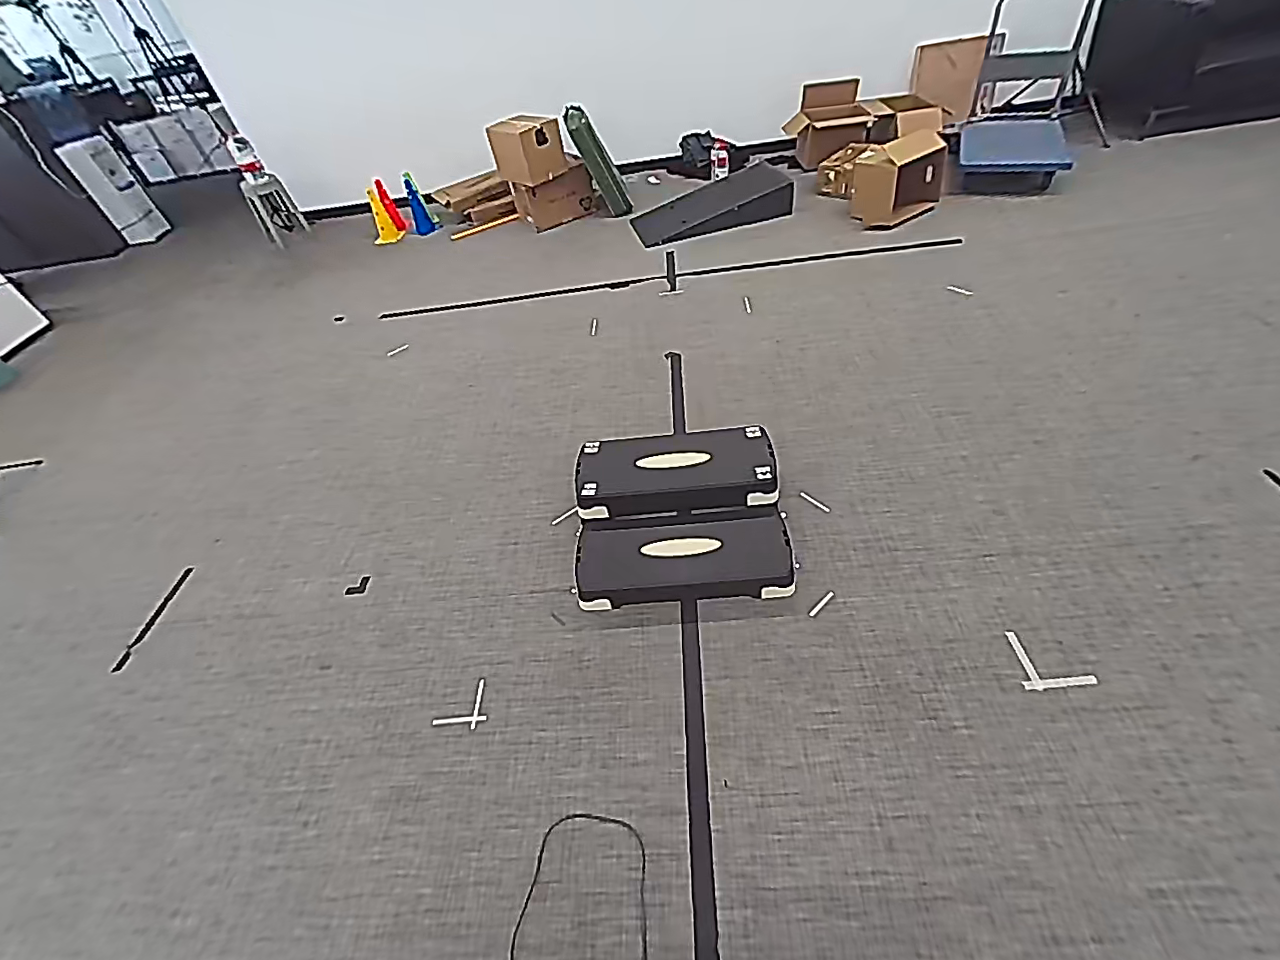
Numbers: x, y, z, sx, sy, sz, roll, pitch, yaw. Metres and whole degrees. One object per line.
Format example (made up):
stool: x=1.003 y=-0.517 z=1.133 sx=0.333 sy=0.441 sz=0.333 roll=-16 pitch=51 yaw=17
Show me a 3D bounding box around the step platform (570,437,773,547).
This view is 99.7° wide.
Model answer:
step platform: x=0.104 y=0.036 z=1.858 sx=0.684 sy=0.204 sz=0.286 roll=-5 pitch=46 yaw=4
